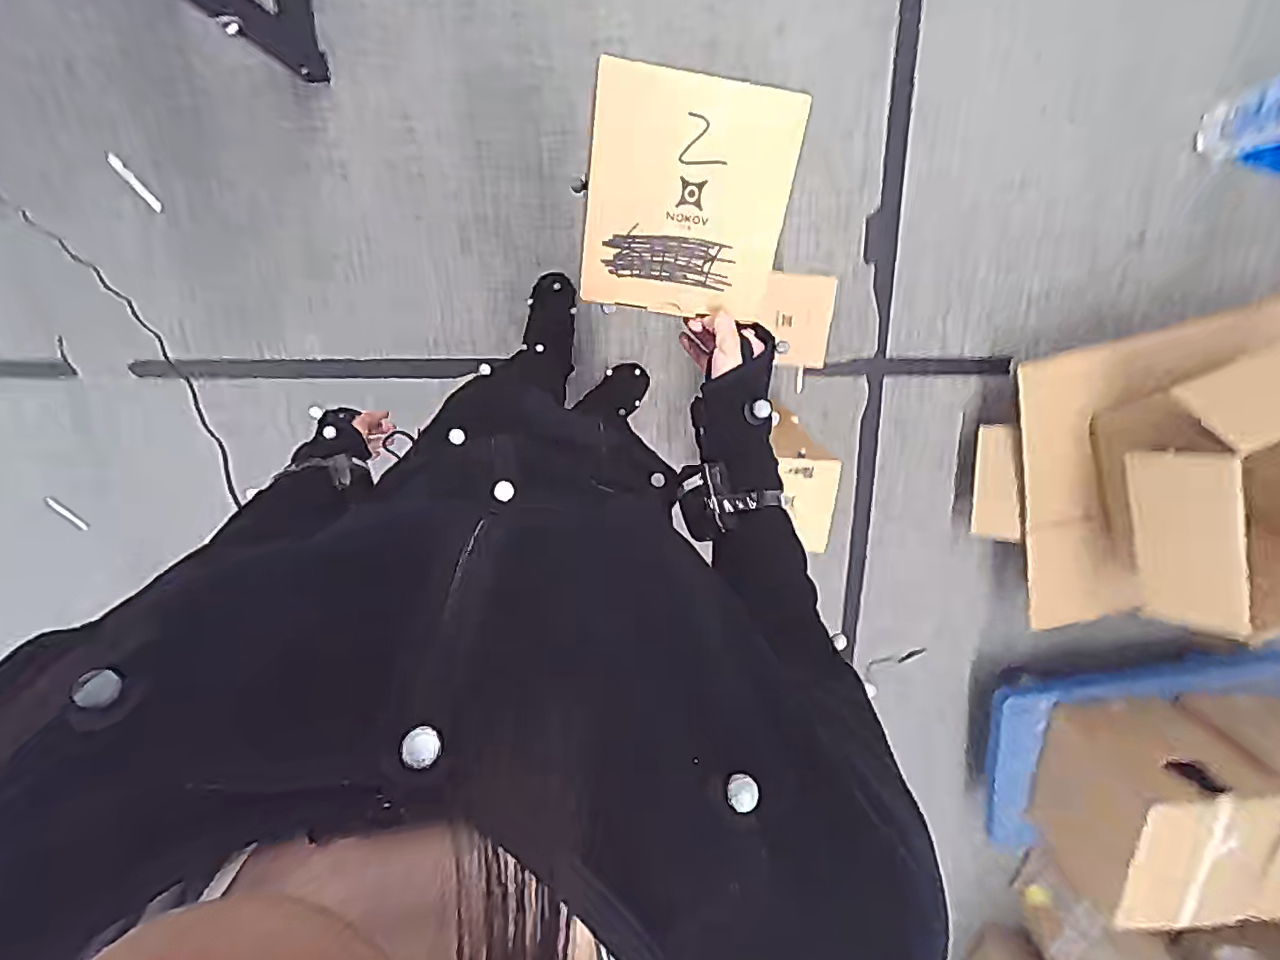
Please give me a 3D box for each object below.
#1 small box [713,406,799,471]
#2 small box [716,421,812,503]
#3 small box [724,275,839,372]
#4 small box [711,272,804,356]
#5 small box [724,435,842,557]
[{"bbox_3d":[0.277,-0.085,1.336,0.179,0.176,0.168,-1,109,-1],"label":"small box"},{"bbox_3d":[0.261,-0.028,1.182,0.168,0.176,0.179,1,109,0],"label":"small box"},{"bbox_3d":[0.272,-0.317,1.088,0.179,0.176,0.168,3,110,-3],"label":"small box"},{"bbox_3d":[0.262,-0.373,1.240,0.168,0.176,0.179,5,109,-2],"label":"small box"},{"bbox_3d":[0.259,0.025,1.027,0.168,0.176,0.179,4,110,-2],"label":"small box"}]
